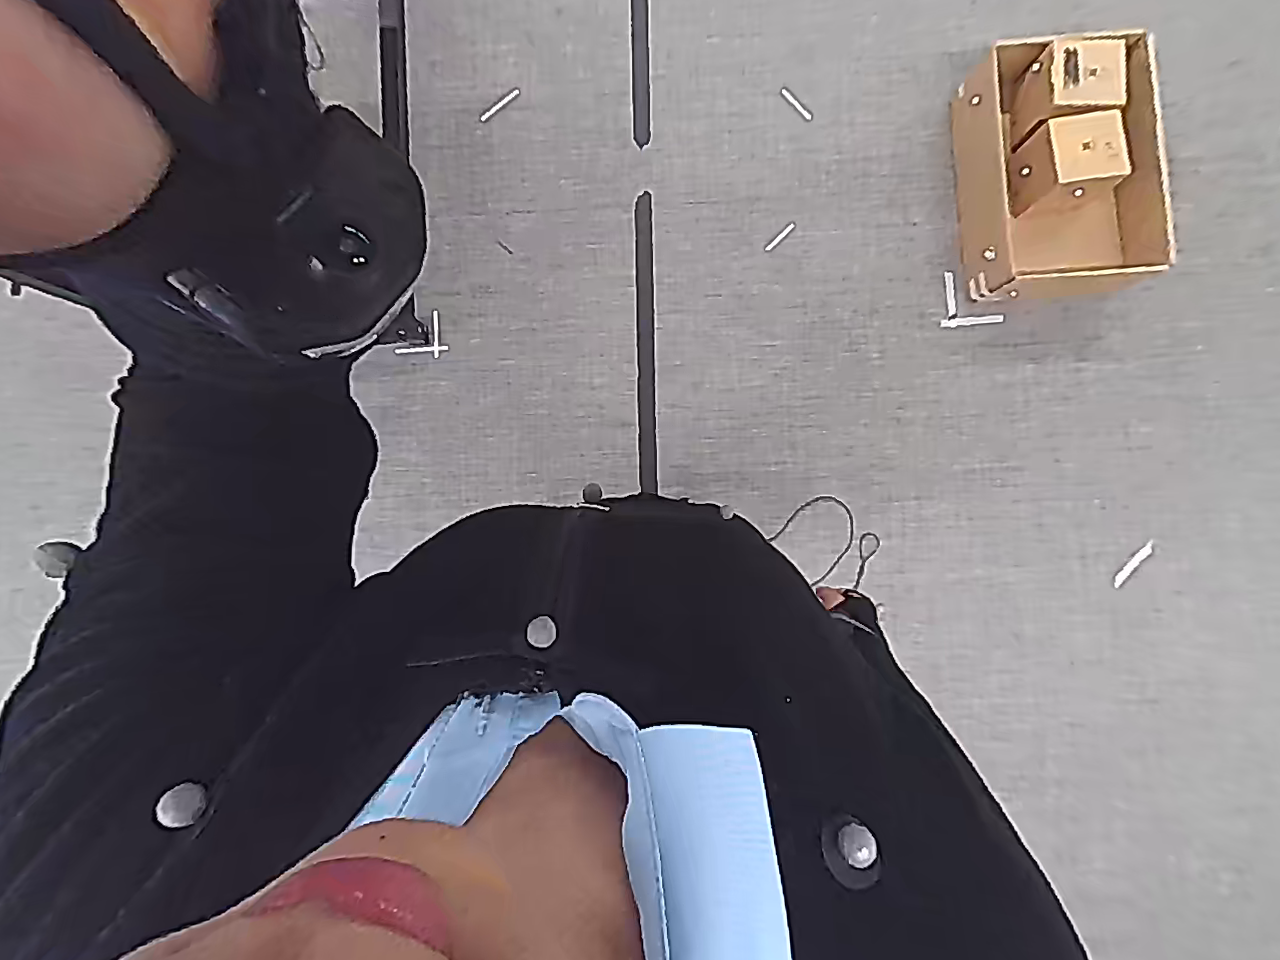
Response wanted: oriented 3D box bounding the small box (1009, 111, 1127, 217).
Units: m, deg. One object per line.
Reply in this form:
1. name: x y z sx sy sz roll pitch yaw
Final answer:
1. small box: 1.092 -0.807 1.399 0.179 0.176 0.168 -7 88 1
